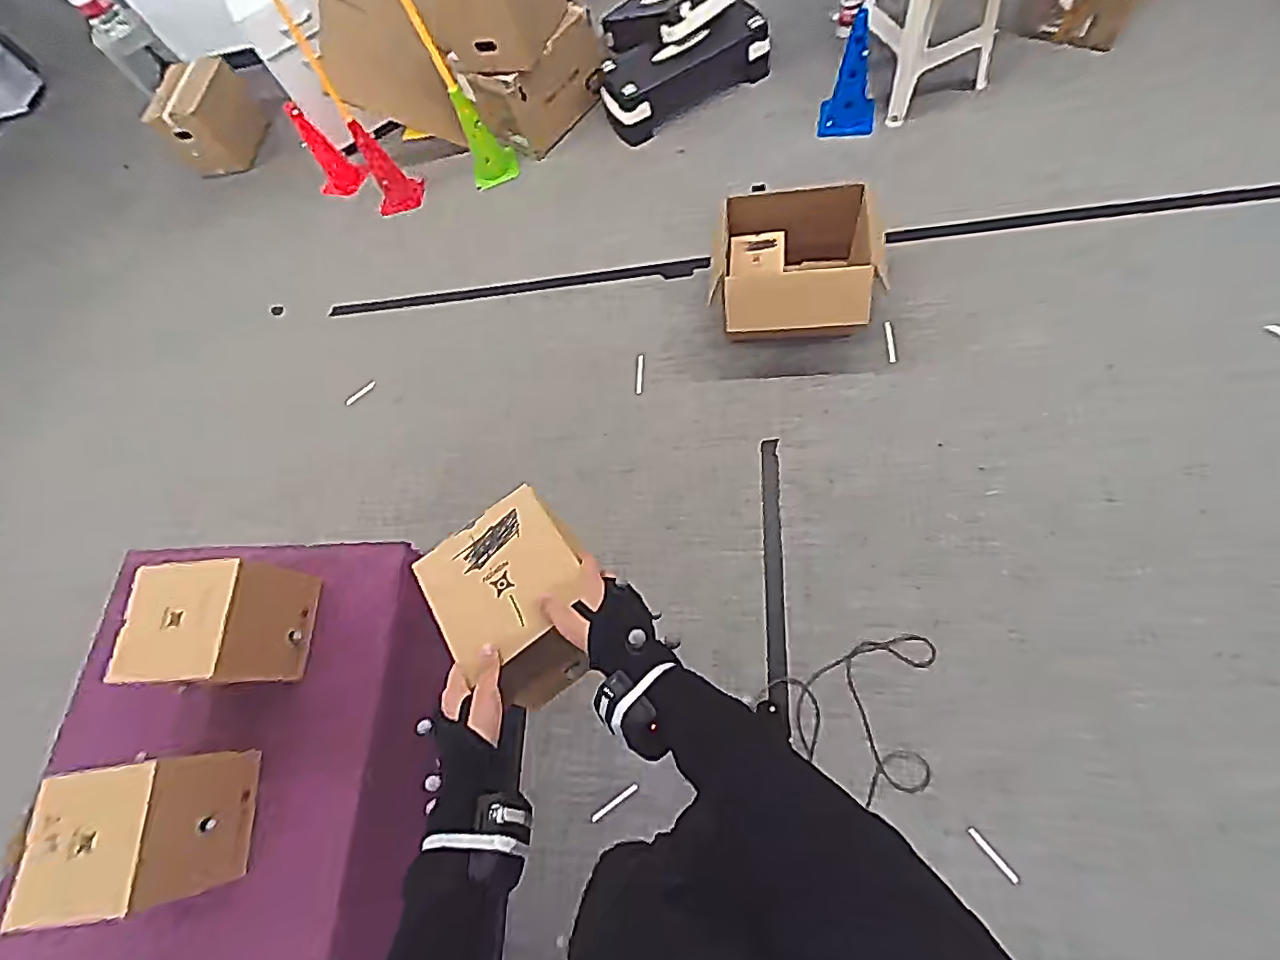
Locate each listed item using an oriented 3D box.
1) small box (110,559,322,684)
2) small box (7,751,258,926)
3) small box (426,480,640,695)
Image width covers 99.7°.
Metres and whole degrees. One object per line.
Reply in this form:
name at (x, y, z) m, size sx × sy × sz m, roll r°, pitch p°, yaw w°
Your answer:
small box at (-0.645, 0.228, 0.845) m, size 0.179 × 0.176 × 0.168 m, roll -6°, pitch 68°, yaw 10°
small box at (-0.677, 0.480, 0.748) m, size 0.179 × 0.176 × 0.168 m, roll -11°, pitch 66°, yaw 8°
small box at (-0.125, 0.139, 0.670) m, size 0.168 × 0.176 × 0.179 m, roll -36°, pitch 58°, yaw -5°
